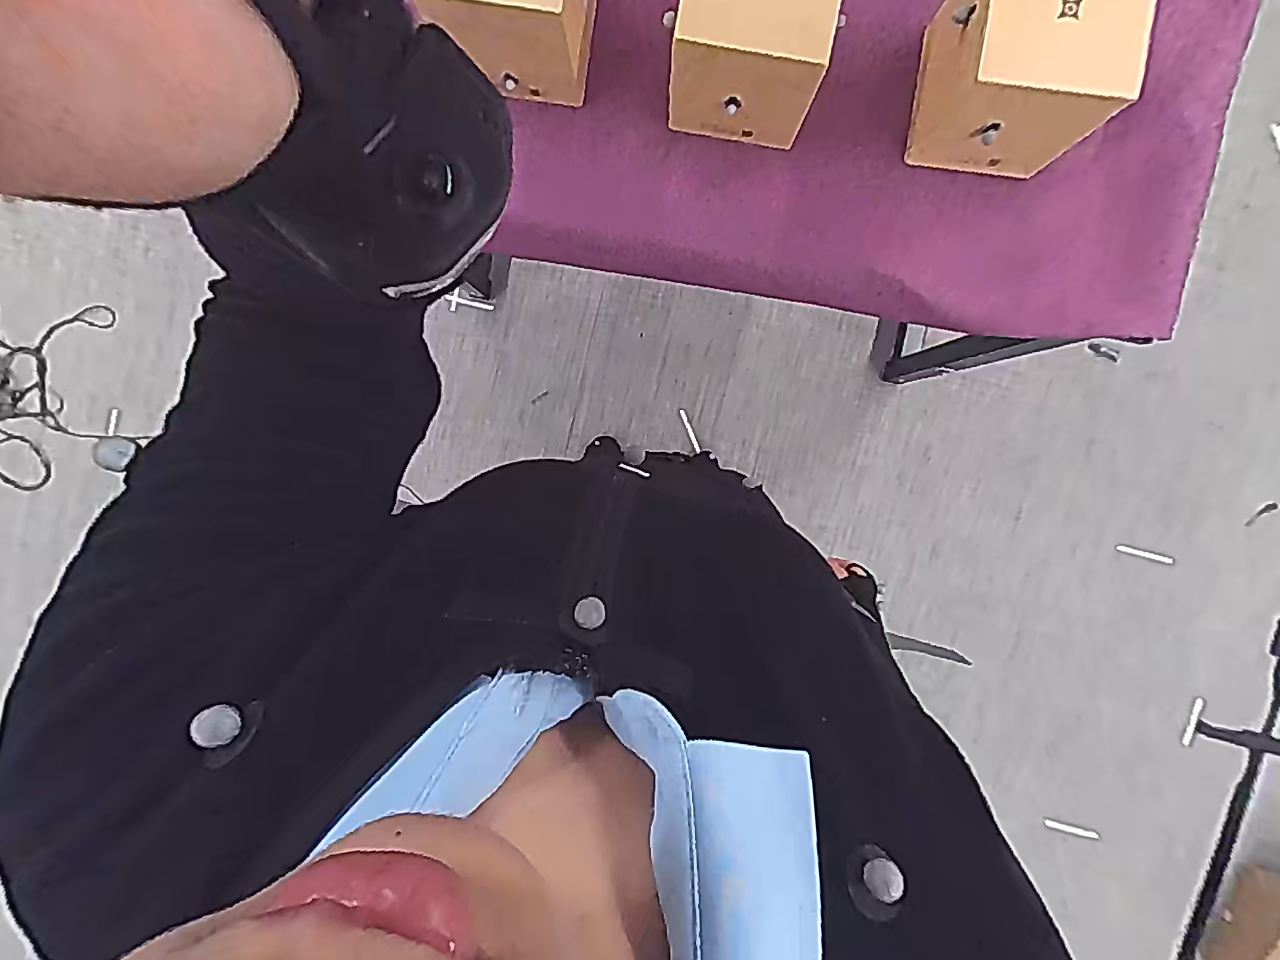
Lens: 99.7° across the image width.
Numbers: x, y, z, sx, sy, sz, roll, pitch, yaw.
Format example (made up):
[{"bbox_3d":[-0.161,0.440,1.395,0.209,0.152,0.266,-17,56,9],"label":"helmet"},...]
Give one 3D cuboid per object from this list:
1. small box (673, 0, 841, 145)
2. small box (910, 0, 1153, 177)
[{"bbox_3d":[0.135,-0.535,0.638,0.168,0.176,0.179,11,94,0],"label":"small box"},{"bbox_3d":[0.441,-0.488,0.633,0.168,0.176,0.179,8,93,2],"label":"small box"}]
